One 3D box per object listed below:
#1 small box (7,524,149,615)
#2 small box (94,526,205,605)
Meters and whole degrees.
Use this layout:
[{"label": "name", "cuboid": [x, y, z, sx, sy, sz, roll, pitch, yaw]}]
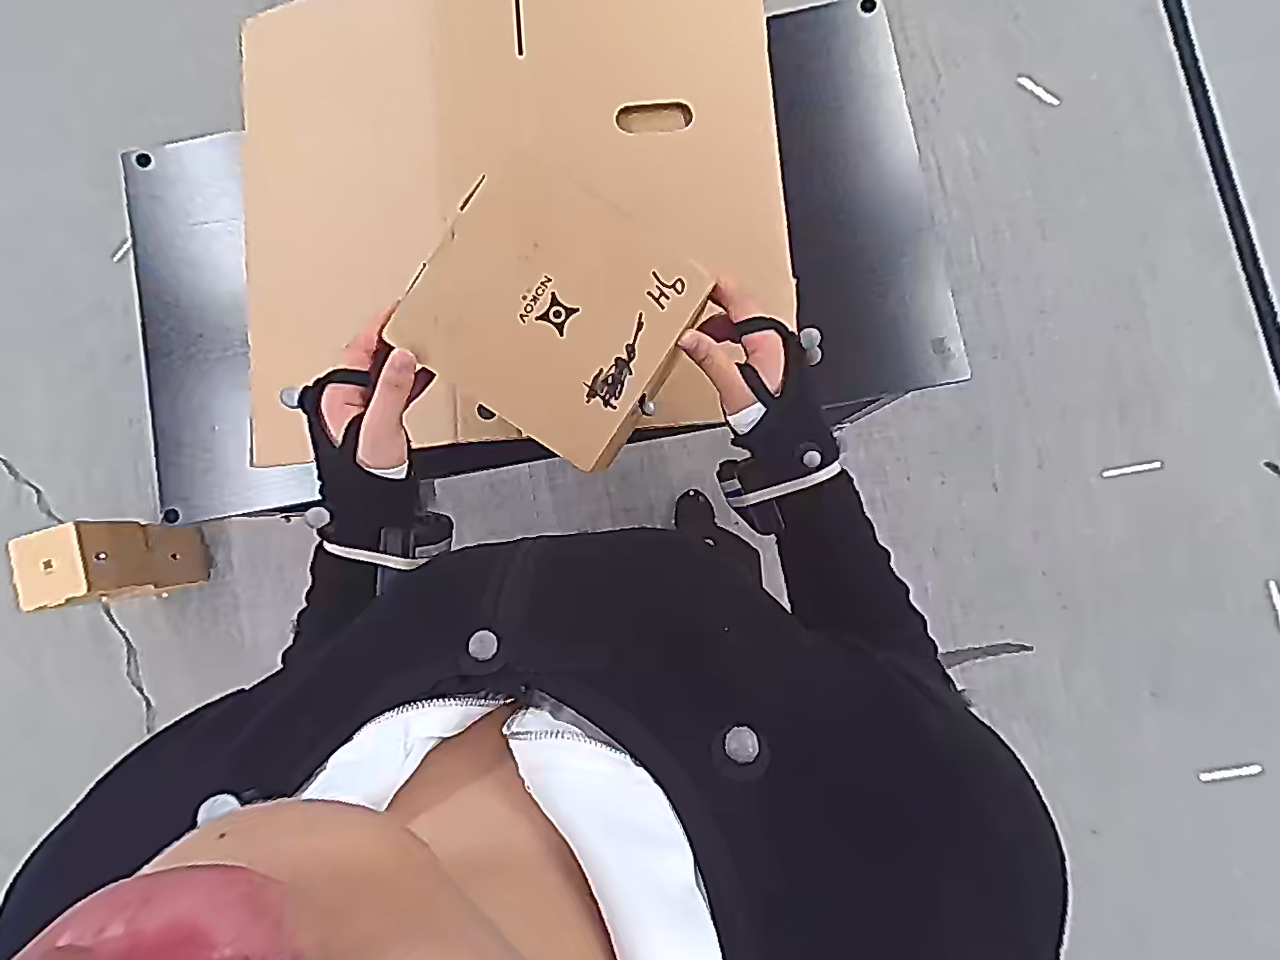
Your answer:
[{"label": "small box", "cuboid": [-1.357, 0.211, 1.319, 0.168, 0.176, 0.179, -17, 84, 1]}, {"label": "small box", "cuboid": [-1.346, 0.229, 1.480, 0.168, 0.176, 0.179, -14, 86, 2]}]
